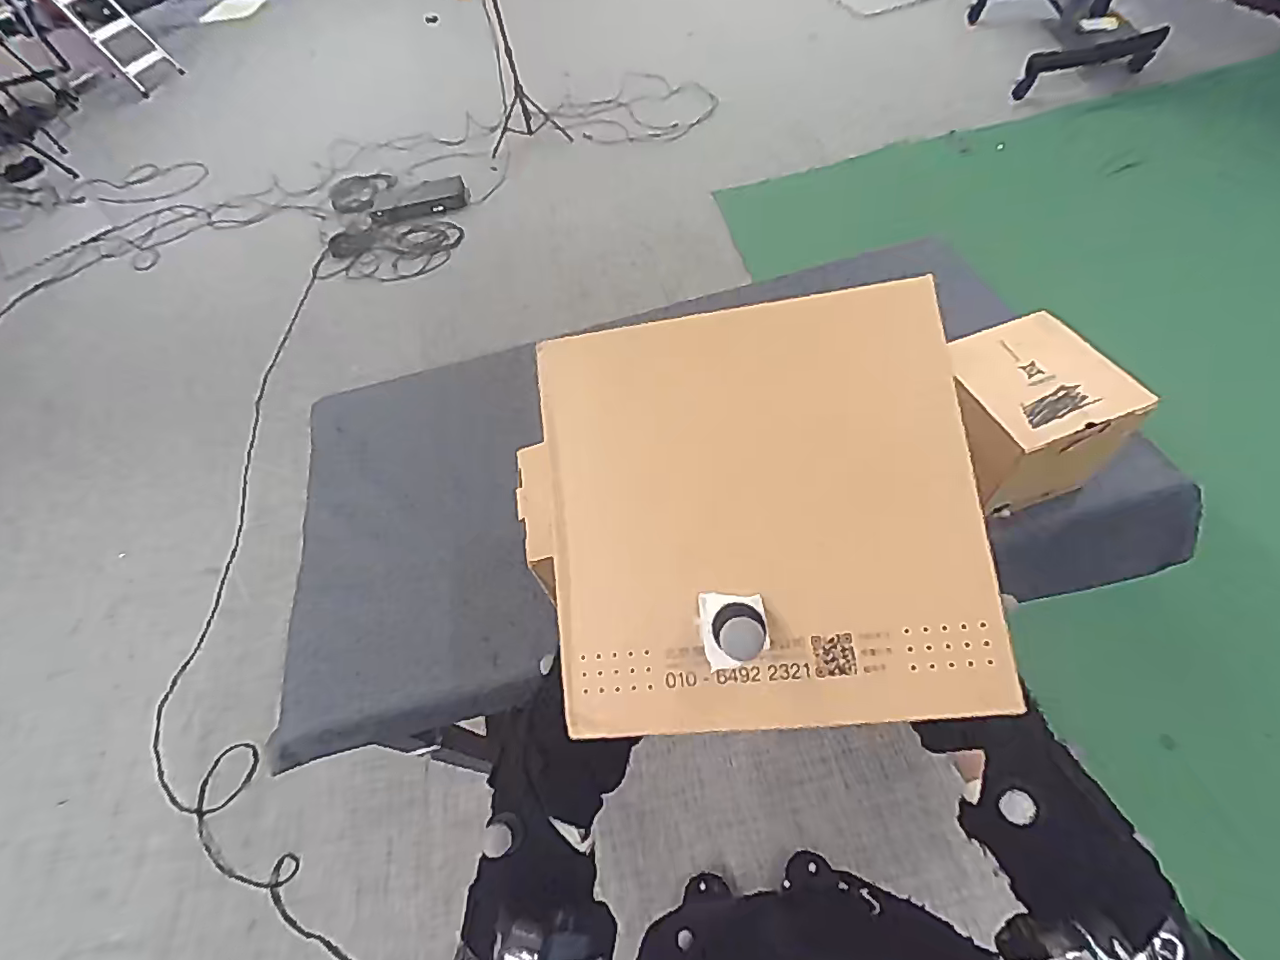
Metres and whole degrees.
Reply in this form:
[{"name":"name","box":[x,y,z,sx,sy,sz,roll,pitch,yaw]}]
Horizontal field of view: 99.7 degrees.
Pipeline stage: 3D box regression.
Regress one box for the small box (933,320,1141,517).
[{"name":"small box","box":[0.468,-0.071,0.707,0.168,0.176,0.179,-18,54,-4]}]

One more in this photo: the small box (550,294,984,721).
[{"name":"small box","box":[0.056,0.025,0.304,0.168,0.179,0.176,-7,81,6]}]

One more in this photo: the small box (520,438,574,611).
[{"name":"small box","box":[-0.043,0.052,0.701,0.179,0.176,0.168,-13,54,-1]}]
